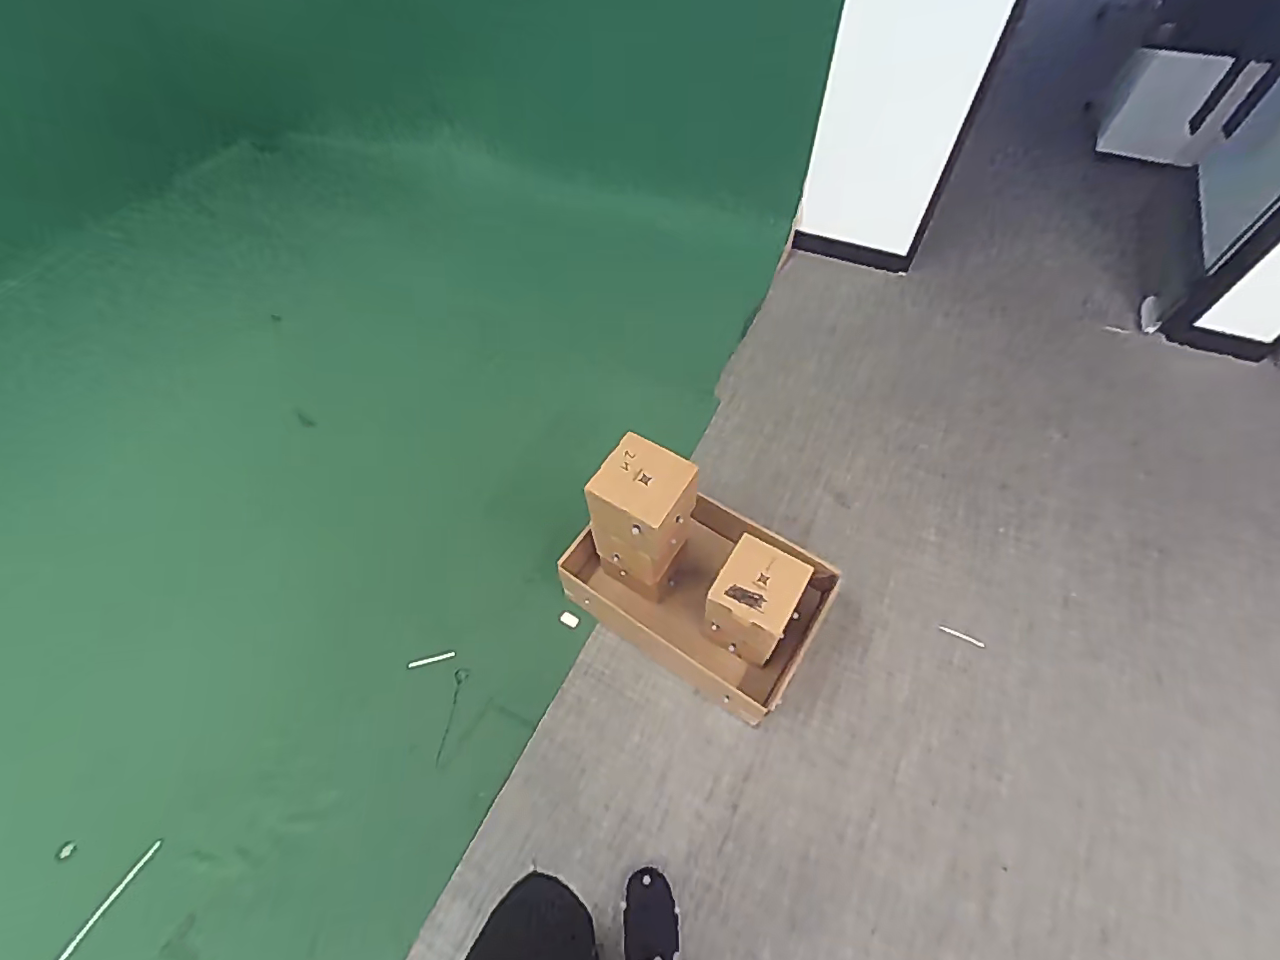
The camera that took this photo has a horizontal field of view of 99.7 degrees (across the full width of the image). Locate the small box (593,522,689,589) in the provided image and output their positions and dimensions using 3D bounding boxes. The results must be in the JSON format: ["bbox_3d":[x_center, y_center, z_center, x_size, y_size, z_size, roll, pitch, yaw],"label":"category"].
[{"bbox_3d":[0.006,0.128,1.298,0.168,0.176,0.179,30,65,18],"label":"small box"}]

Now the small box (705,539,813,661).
[{"bbox_3d":[0.256,0.270,1.192,0.168,0.176,0.179,28,62,20],"label":"small box"}]

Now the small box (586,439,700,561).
[{"bbox_3d":[0.010,0.051,1.151,0.179,0.176,0.168,29,64,18],"label":"small box"}]
